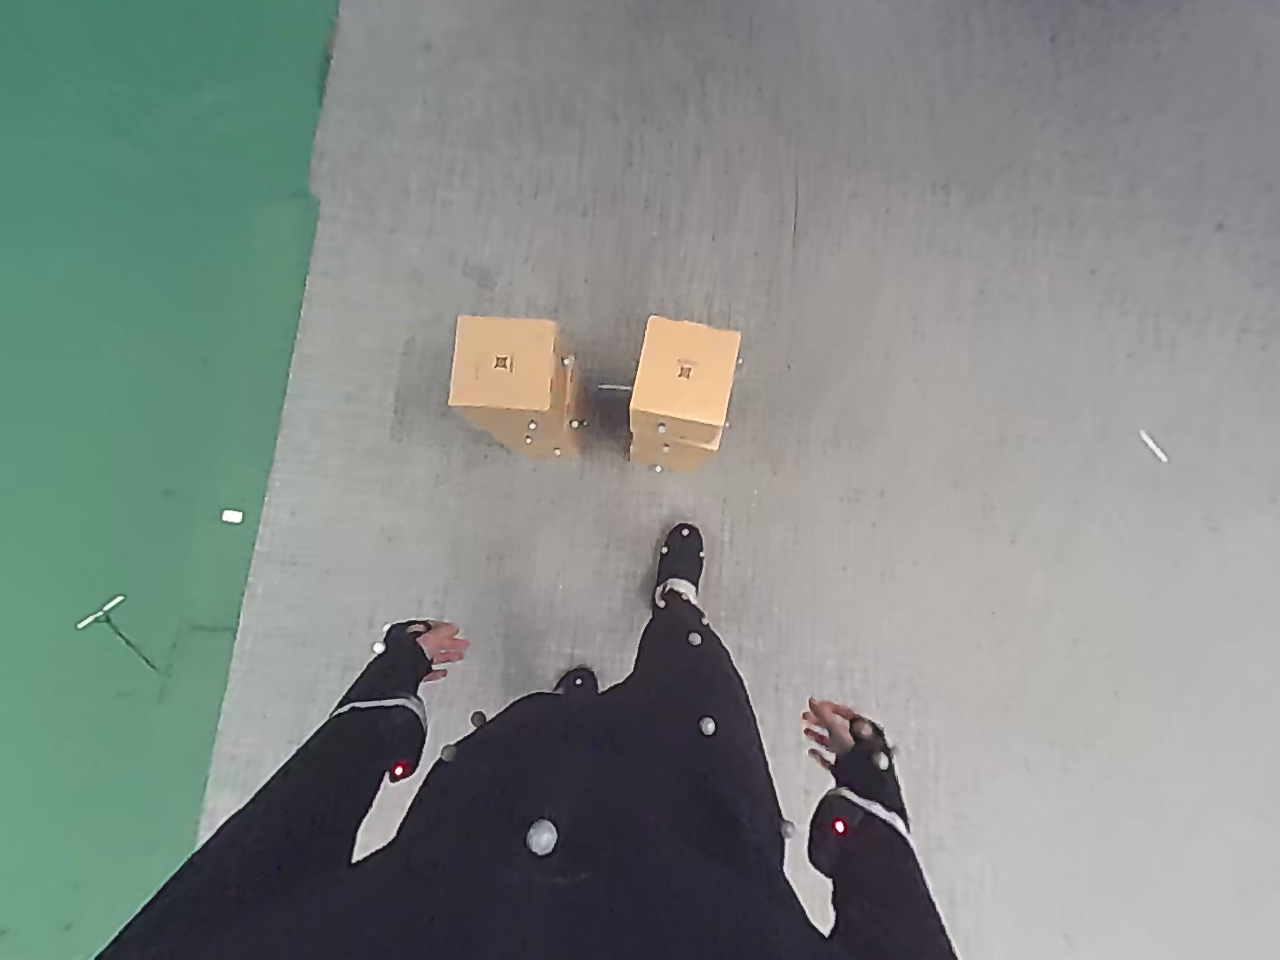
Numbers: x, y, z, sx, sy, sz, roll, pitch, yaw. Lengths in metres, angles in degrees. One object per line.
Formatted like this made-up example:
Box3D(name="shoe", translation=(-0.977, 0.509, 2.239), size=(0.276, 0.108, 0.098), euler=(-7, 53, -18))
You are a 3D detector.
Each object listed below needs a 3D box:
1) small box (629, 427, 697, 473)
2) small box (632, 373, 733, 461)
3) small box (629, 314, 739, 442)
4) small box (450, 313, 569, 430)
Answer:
Box3D(name="small box", translation=(0.073, -0.129, 1.338), size=(0.168, 0.176, 0.179), euler=(14, 82, 3))
Box3D(name="small box", translation=(0.089, -0.148, 1.175), size=(0.179, 0.176, 0.168), euler=(14, 82, 3))
Box3D(name="small box", translation=(0.079, -0.181, 1.015), size=(0.168, 0.176, 0.179), euler=(11, 81, 2))
Box3D(name="small box", translation=(-0.233, -0.195, 1.013), size=(0.179, 0.176, 0.168), euler=(3, 81, 2))
